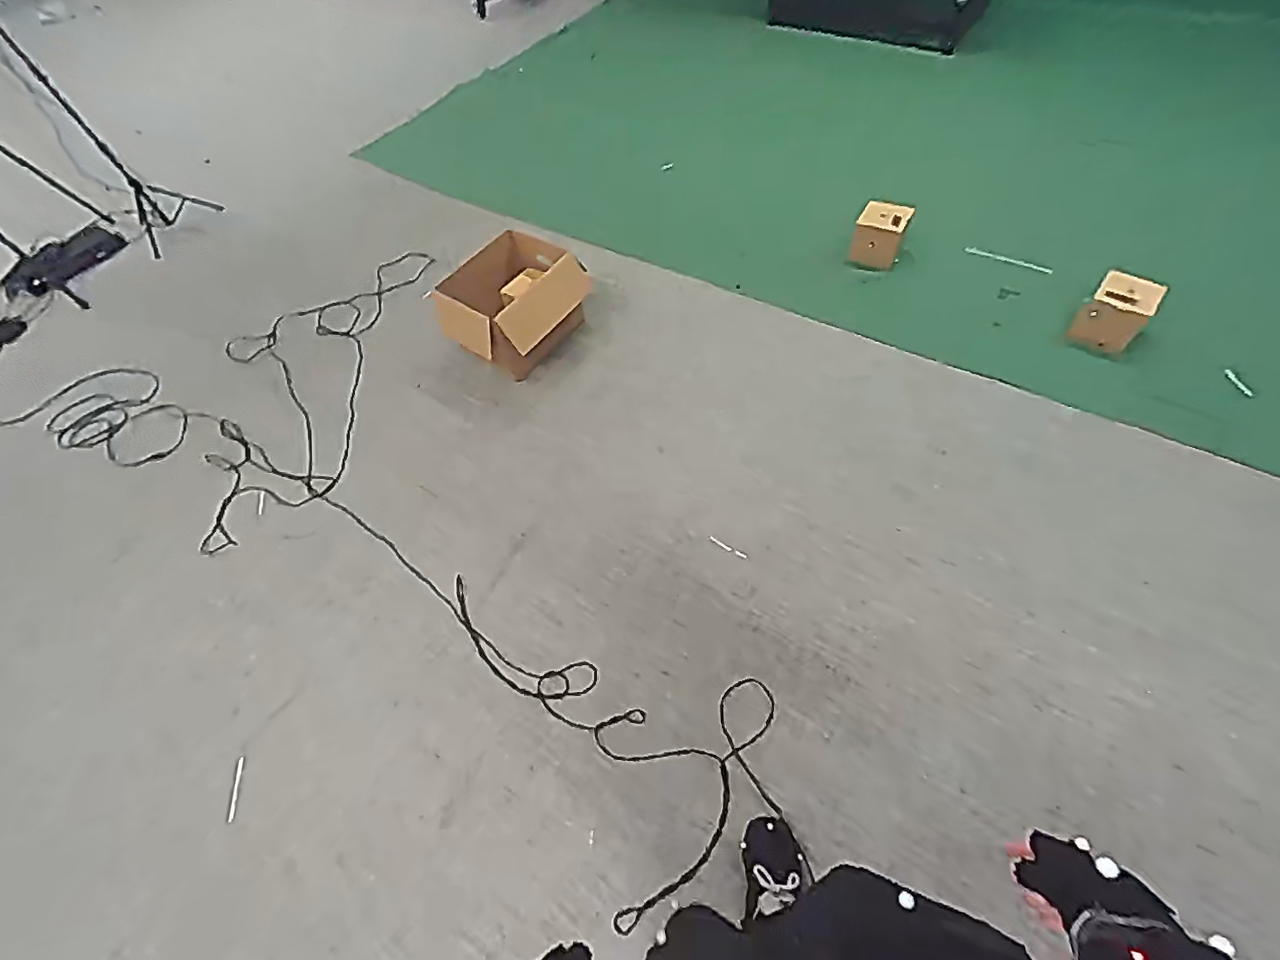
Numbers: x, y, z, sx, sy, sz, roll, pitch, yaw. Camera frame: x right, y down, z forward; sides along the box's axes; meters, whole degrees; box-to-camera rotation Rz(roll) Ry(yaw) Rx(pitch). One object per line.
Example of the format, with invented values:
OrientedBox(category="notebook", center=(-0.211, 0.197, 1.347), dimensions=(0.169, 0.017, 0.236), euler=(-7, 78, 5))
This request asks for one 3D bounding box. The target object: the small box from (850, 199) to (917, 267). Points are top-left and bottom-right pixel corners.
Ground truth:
OrientedBox(category="small box", center=(0.954, -0.970, 2.132), dimensions=(0.179, 0.176, 0.168), euler=(25, 63, 22))
